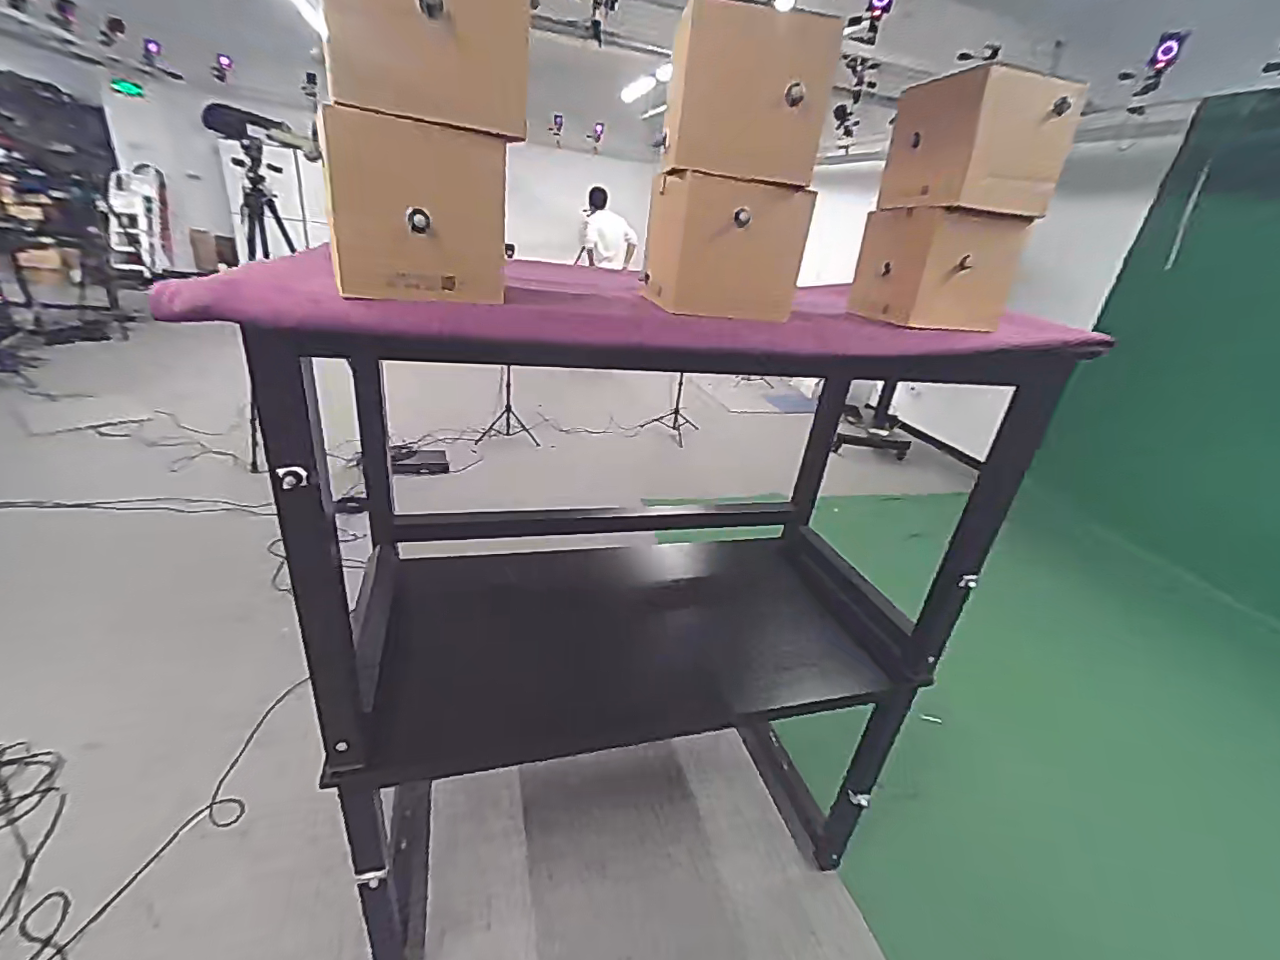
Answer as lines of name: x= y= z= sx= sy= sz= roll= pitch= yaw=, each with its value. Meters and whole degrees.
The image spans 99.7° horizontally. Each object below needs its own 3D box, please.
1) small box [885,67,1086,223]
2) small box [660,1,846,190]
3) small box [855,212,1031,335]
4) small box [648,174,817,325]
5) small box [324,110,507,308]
small box: x=0.493 y=-0.477 z=0.803 sx=0.179 sy=0.176 sz=0.168 roll=-2 pitch=24 yaw=-16
small box: x=0.129 y=-0.465 z=0.690 sx=0.179 sy=0.176 sz=0.168 roll=3 pitch=25 yaw=-7
small box: x=0.475 y=-0.334 z=0.880 sx=0.179 sy=0.176 sz=0.168 roll=-3 pitch=25 yaw=-16
small box: x=0.115 y=-0.320 z=0.762 sx=0.179 sy=0.176 sz=0.168 roll=0 pitch=27 yaw=-16
small box: x=-0.253 y=-0.297 z=0.611 sx=0.168 sy=0.176 sz=0.179 roll=-6 pitch=29 yaw=-29
